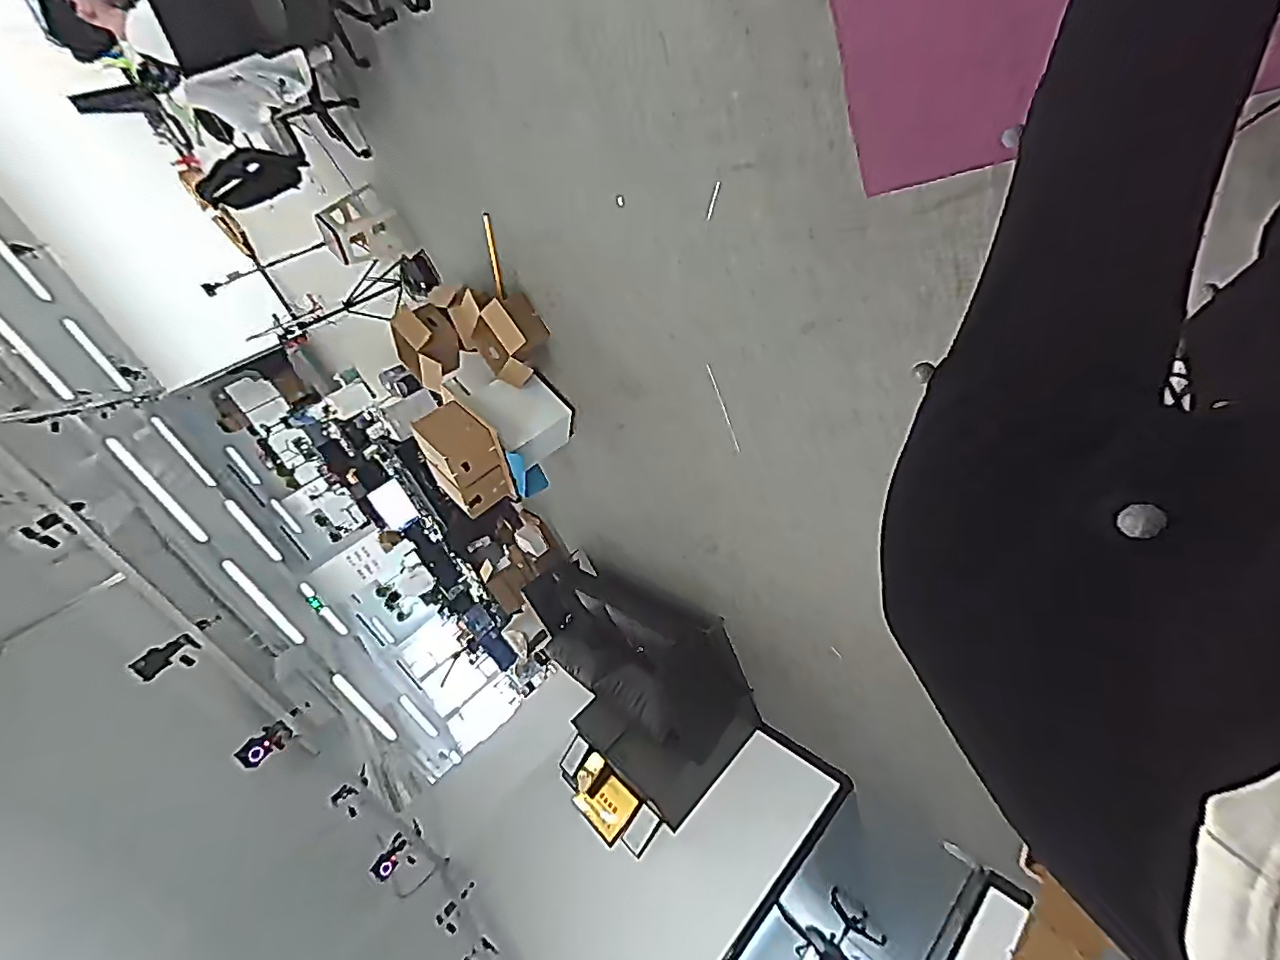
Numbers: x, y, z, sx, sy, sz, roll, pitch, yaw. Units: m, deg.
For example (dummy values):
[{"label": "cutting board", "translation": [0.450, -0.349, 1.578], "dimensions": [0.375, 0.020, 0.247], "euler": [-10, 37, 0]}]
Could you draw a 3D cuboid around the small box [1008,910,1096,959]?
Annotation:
[{"label": "small box", "translation": [1.160, 1.379, 1.531], "dimensions": [0.168, 0.176, 0.179], "euler": [19, 139, 47]}]

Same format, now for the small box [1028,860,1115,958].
[{"label": "small box", "translation": [1.277, 1.292, 1.607], "dimensions": [0.168, 0.176, 0.179], "euler": [19, 138, 47]}]
